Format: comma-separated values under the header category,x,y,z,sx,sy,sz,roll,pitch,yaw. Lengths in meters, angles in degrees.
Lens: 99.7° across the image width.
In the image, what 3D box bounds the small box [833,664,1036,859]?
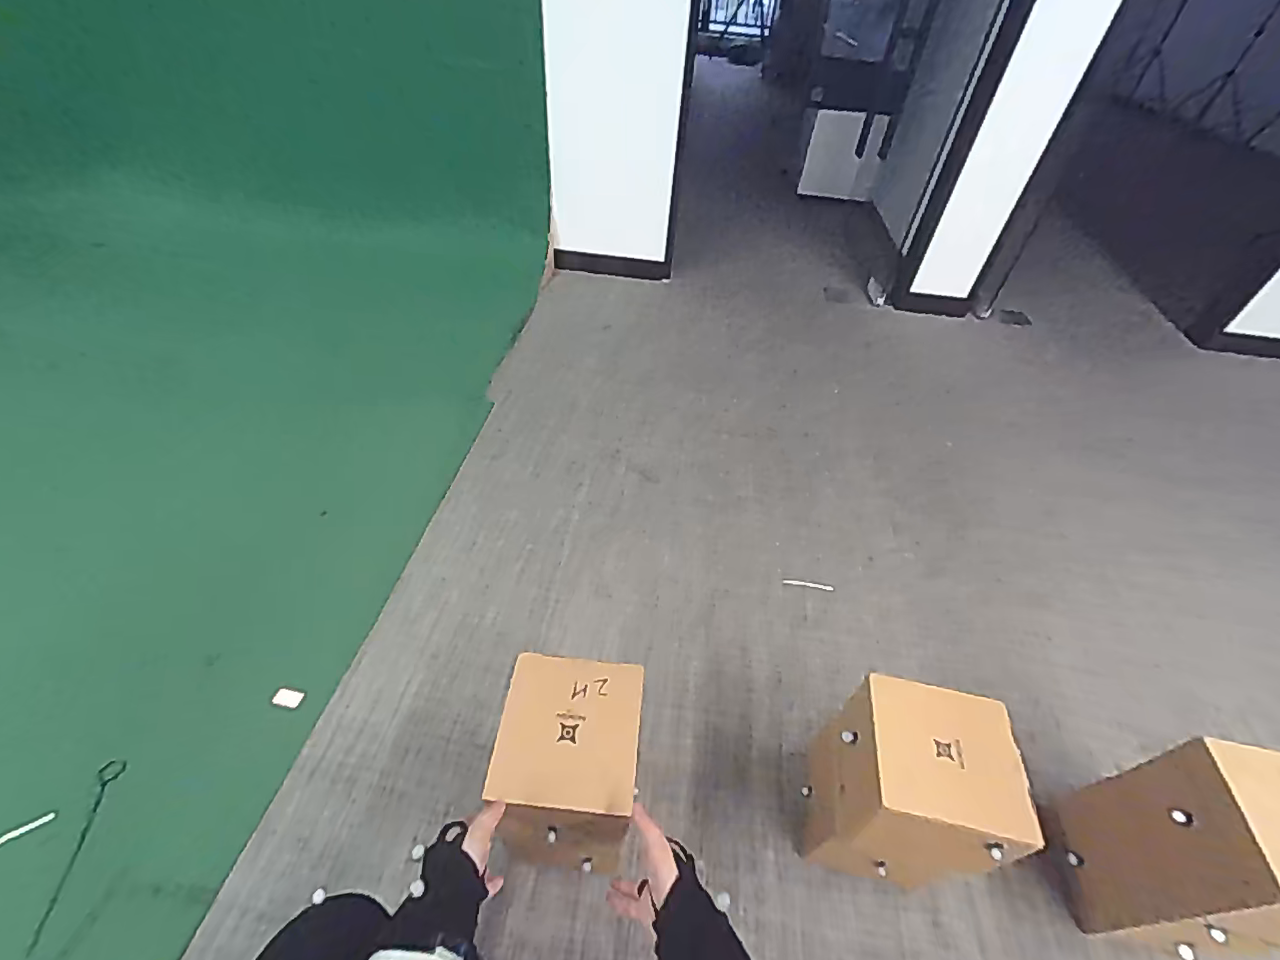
category,x,y,z,sx,sy,sz,roll,pitch,yaw
small box,0.363,0.373,0.713,0.179,0.176,0.168,11,45,6

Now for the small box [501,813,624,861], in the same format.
category,x,y,z,sx,sy,sz,roll,pitch,yaw
small box,-0.098,0.455,0.824,0.168,0.176,0.179,8,44,2

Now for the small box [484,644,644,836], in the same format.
category,x,y,z,sx,sy,sz,roll,pitch,yaw
small box,-0.089,0.342,0.705,0.168,0.176,0.179,7,45,0

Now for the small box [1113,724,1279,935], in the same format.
category,x,y,z,sx,sy,sz,roll,pitch,yaw
small box,0.761,0.442,0.678,0.168,0.176,0.179,11,45,6

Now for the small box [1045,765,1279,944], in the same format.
category,x,y,z,sx,sy,sz,roll,pitch,yaw
small box,0.754,0.554,0.798,0.168,0.176,0.179,10,46,4
